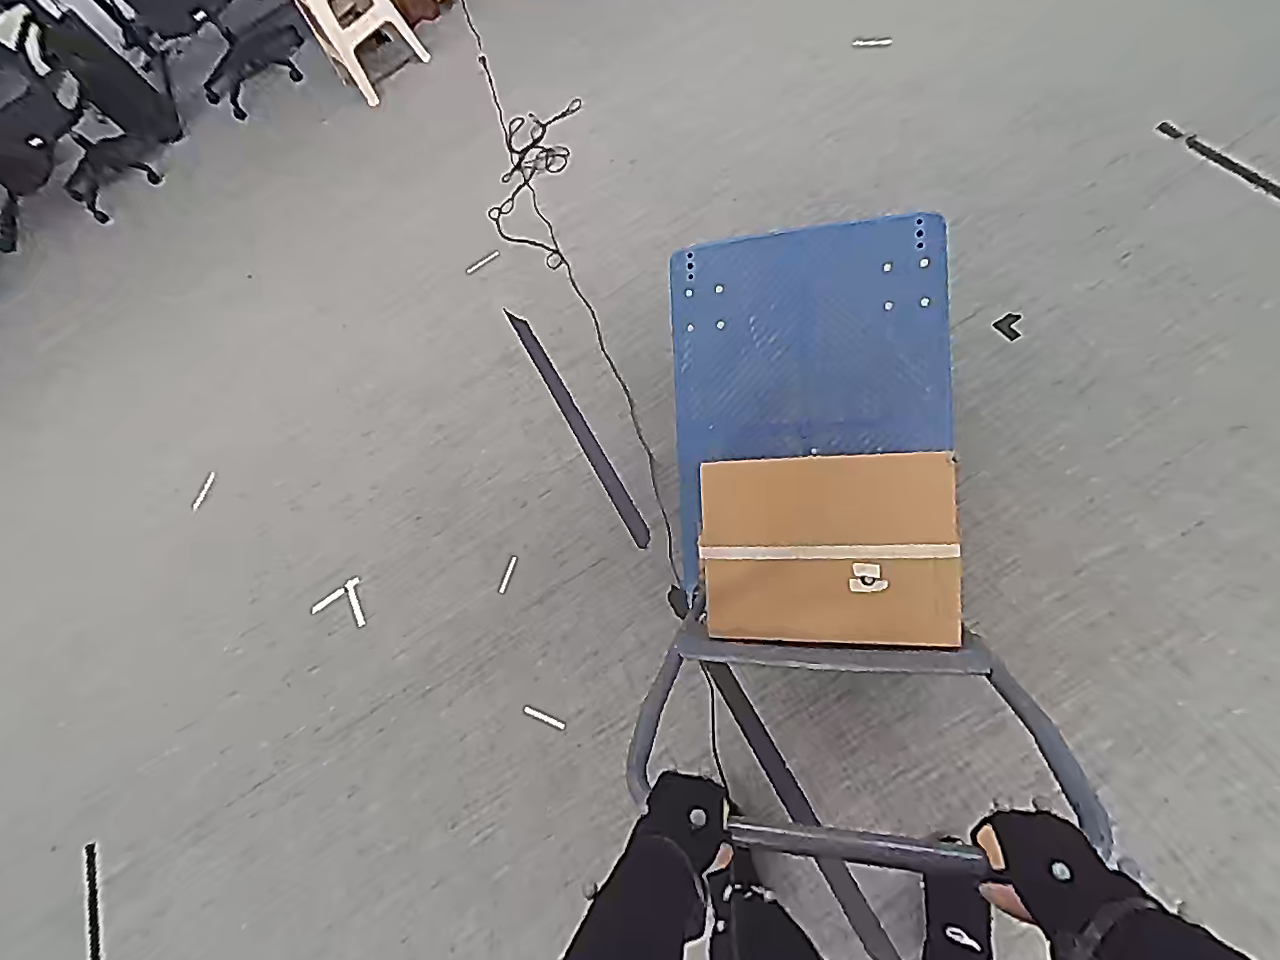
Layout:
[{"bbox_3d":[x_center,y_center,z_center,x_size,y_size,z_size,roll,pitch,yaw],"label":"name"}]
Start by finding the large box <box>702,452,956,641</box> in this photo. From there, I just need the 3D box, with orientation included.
[{"bbox_3d":[0.347,0.115,1.064,0.408,0.320,0.320,-3,92,14],"label":"large box"}]
